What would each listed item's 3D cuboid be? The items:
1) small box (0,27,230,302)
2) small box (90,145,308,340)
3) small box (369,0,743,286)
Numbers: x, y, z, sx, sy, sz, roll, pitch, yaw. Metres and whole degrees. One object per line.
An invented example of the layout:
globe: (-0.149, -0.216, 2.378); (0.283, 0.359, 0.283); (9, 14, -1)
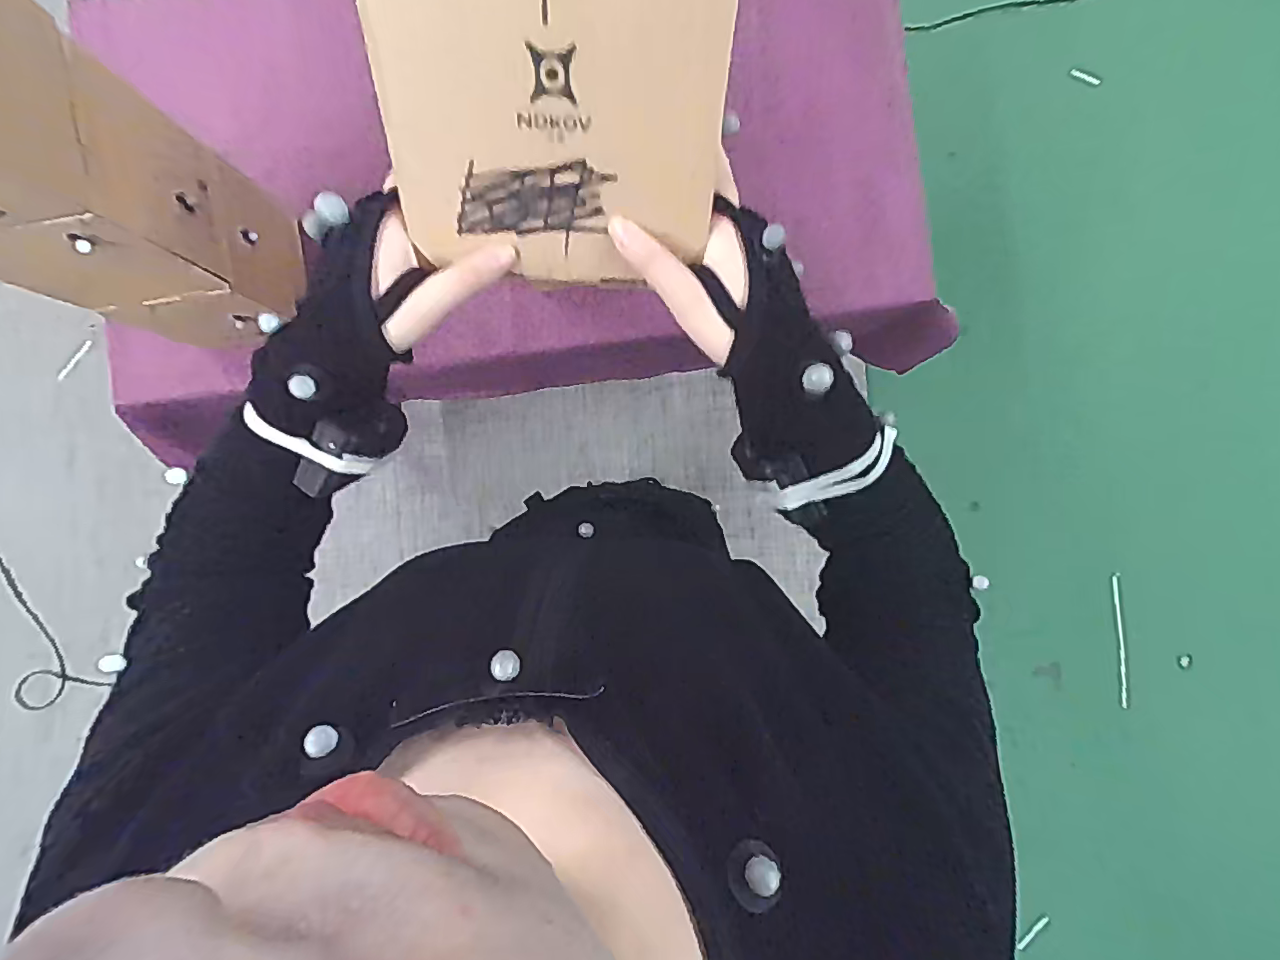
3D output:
small box: (-0.567, -0.294, 0.542); (0.179, 0.176, 0.168); (-10, 90, -2)
small box: (-0.565, -0.291, 0.704); (0.168, 0.176, 0.179); (-8, 89, -2)
small box: (-0.037, -0.236, 0.317); (0.168, 0.176, 0.179); (3, 130, -1)
